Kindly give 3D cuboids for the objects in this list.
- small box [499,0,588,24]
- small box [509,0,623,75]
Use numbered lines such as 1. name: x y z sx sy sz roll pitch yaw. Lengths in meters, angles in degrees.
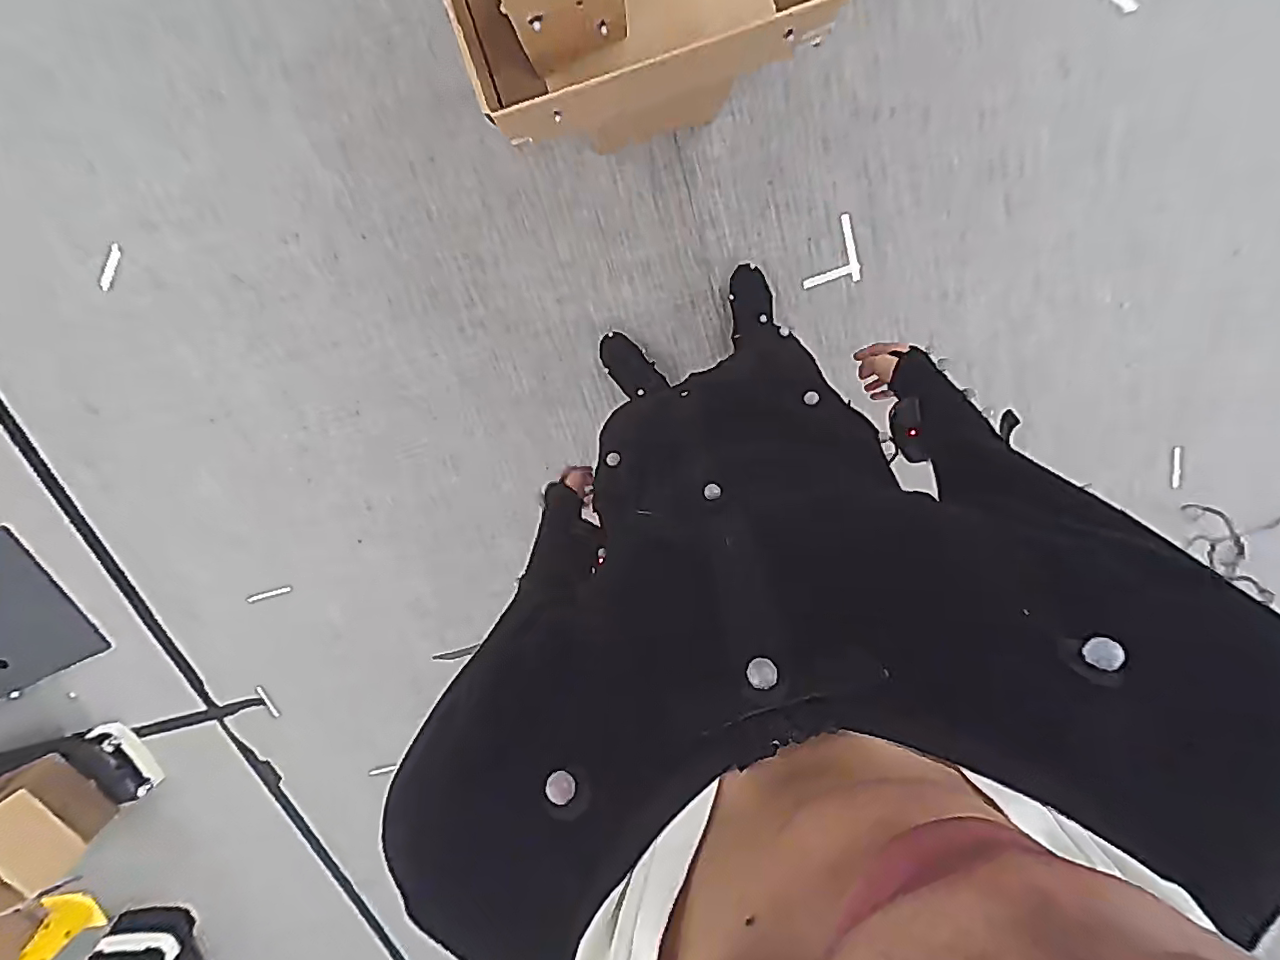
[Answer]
1. small box: -0.139 -0.745 0.704 0.168 0.176 0.179 -19 107 7
2. small box: -0.134 -0.795 0.860 0.179 0.176 0.168 -20 108 8
